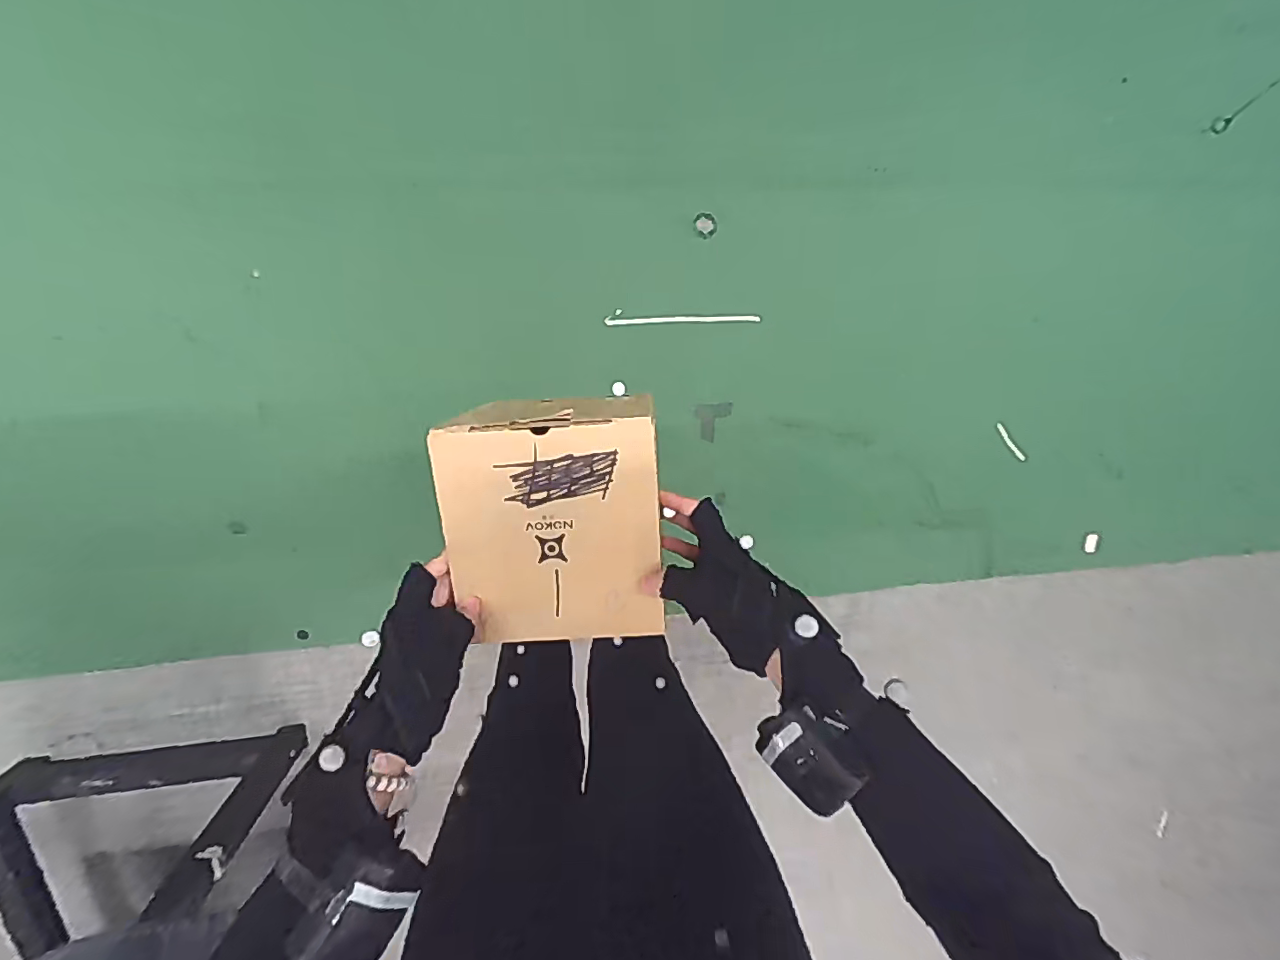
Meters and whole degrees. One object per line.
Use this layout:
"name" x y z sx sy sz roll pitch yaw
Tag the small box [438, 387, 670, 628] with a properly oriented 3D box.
"small box" -0.062 0.011 0.485 0.168 0.176 0.179 -3 106 1
